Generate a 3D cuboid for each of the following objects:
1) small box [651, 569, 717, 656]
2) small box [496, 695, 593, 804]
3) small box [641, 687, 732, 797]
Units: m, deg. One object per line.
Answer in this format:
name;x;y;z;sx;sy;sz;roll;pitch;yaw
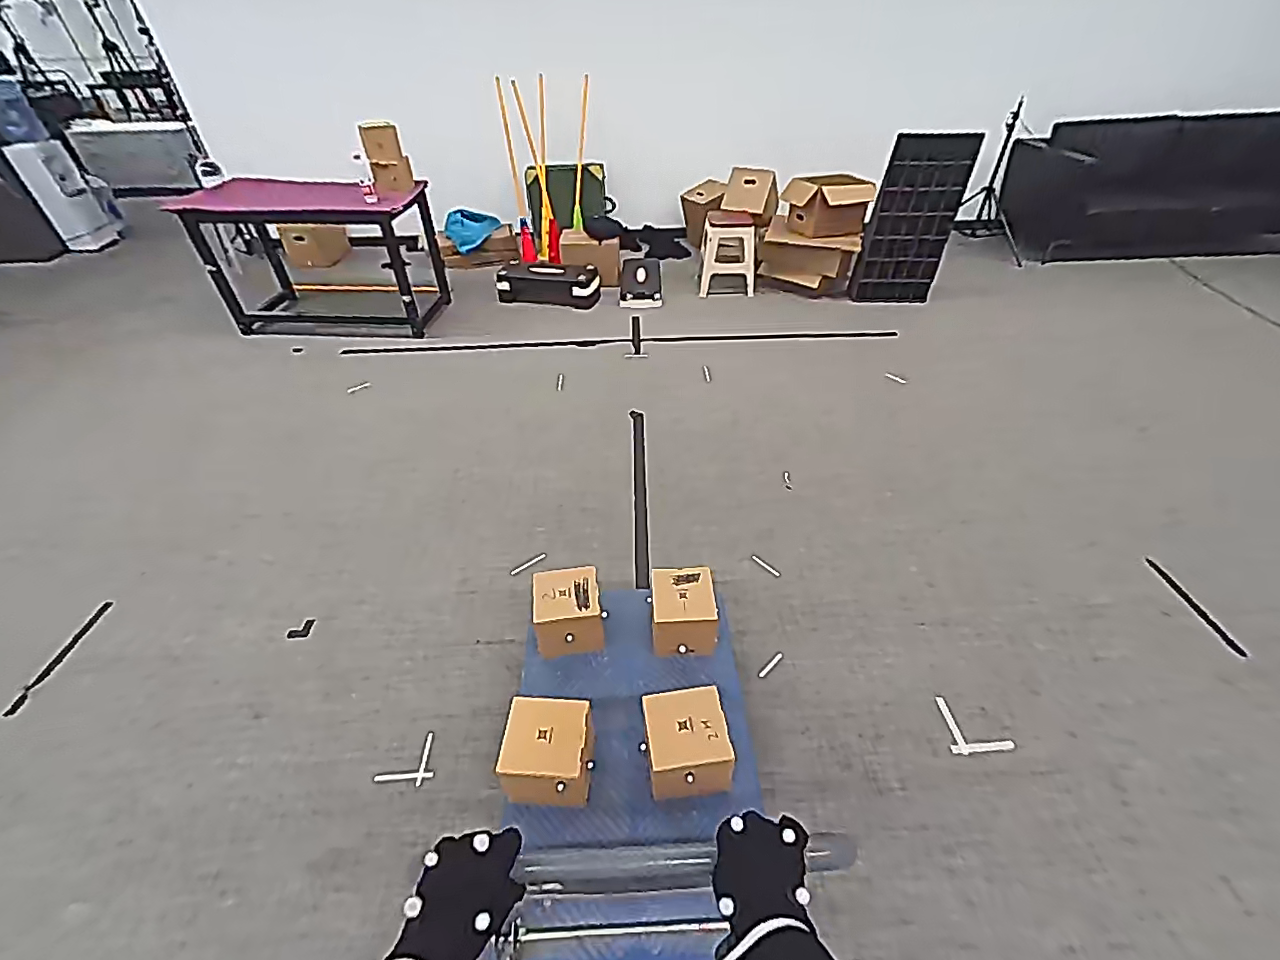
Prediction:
small box;0.116;0.367;1.500;0.168;0.176;0.179;-2;42;-1
small box;-0.207;0.611;1.224;0.179;0.176;0.168;3;40;2
small box;0.100;0.598;1.231;0.179;0.176;0.168;-6;41;-5
